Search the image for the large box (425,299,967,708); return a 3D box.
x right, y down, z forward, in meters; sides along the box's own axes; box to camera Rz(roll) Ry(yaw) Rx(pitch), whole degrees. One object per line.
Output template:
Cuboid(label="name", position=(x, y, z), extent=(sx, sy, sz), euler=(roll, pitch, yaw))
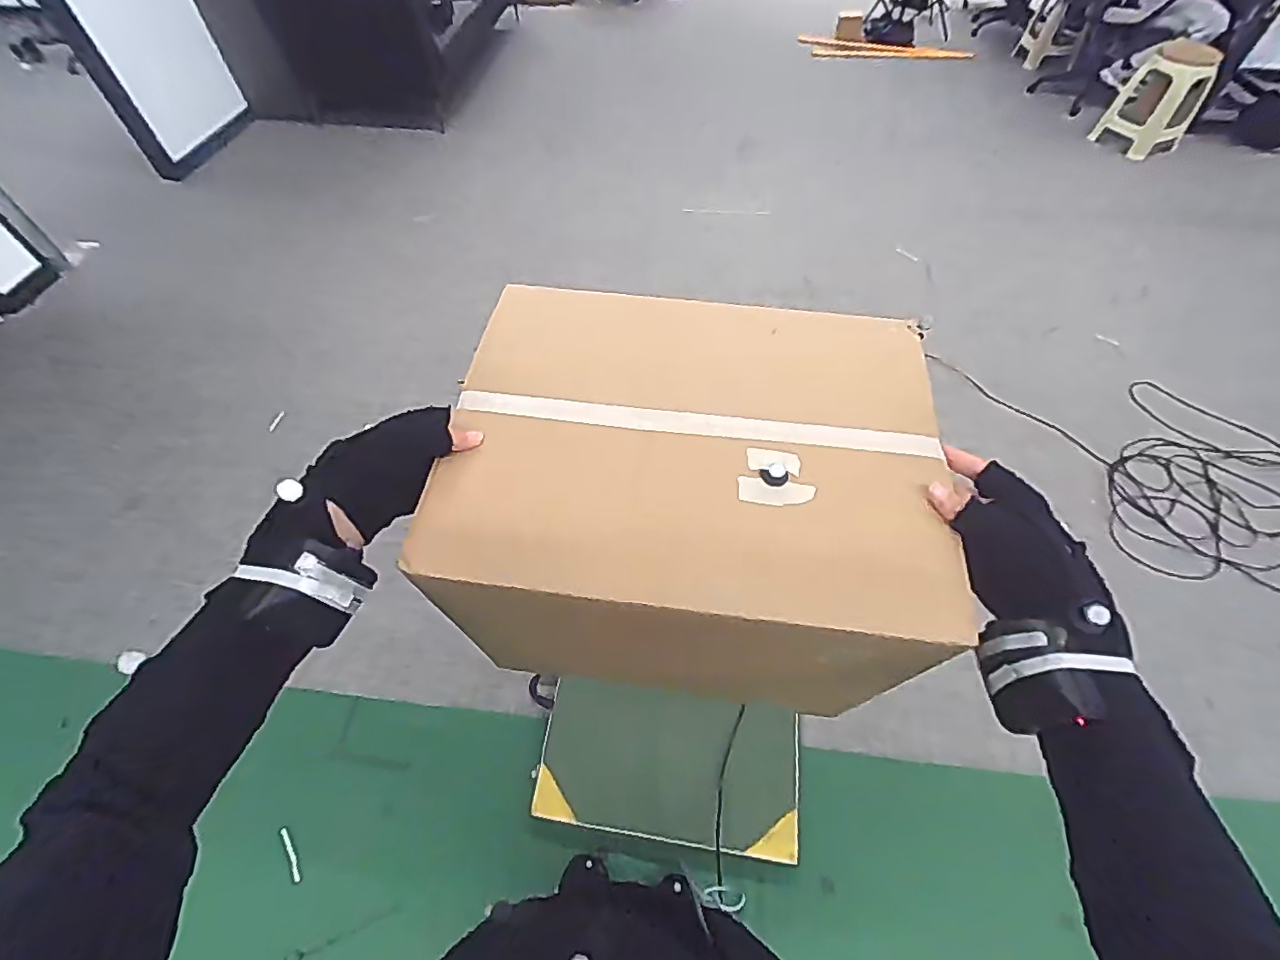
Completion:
Cuboid(label="large box", position=(0.048, 0.040, 0.593), extent=(0.408, 0.320, 0.320), euler=(7, 59, 3))
